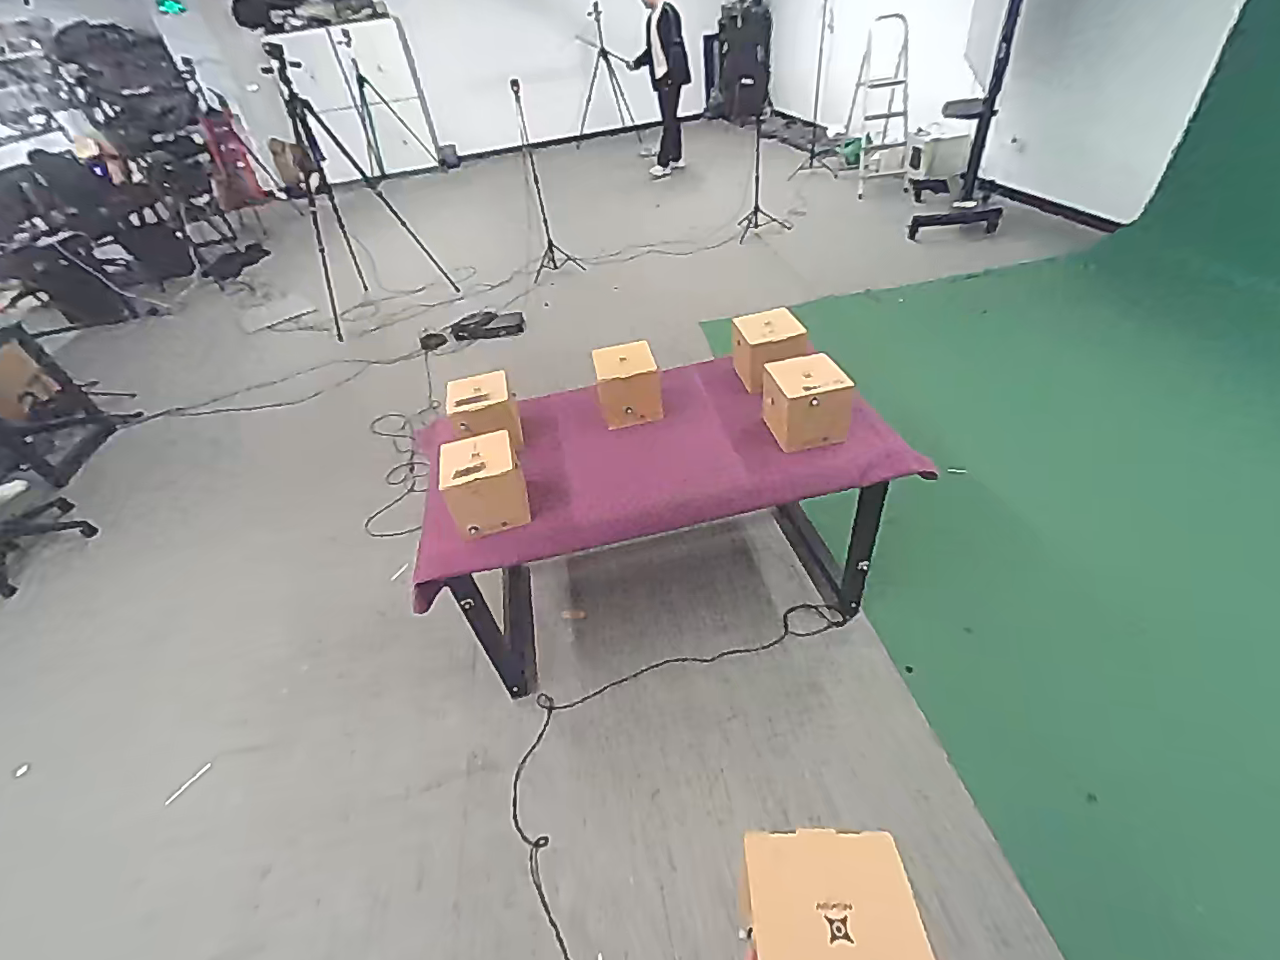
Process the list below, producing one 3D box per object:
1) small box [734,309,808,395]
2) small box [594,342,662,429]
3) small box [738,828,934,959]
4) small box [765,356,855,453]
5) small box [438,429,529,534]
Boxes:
[{"bbox_3d":[0.380,-0.377,1.595,0.168,0.176,0.179,-13,42,-1],"label":"small box"},{"bbox_3d":[-0.034,-0.272,1.554,0.168,0.176,0.179,-11,42,-4],"label":"small box"},{"bbox_3d":[0.197,0.503,0.571,0.168,0.176,0.179,-2,32,3],"label":"small box"},{"bbox_3d":[0.424,-0.192,1.382,0.168,0.176,0.179,-12,39,-2],"label":"small box"},{"bbox_3d":[-0.368,0.009,1.287,0.168,0.176,0.179,-14,40,-7],"label":"small box"}]
